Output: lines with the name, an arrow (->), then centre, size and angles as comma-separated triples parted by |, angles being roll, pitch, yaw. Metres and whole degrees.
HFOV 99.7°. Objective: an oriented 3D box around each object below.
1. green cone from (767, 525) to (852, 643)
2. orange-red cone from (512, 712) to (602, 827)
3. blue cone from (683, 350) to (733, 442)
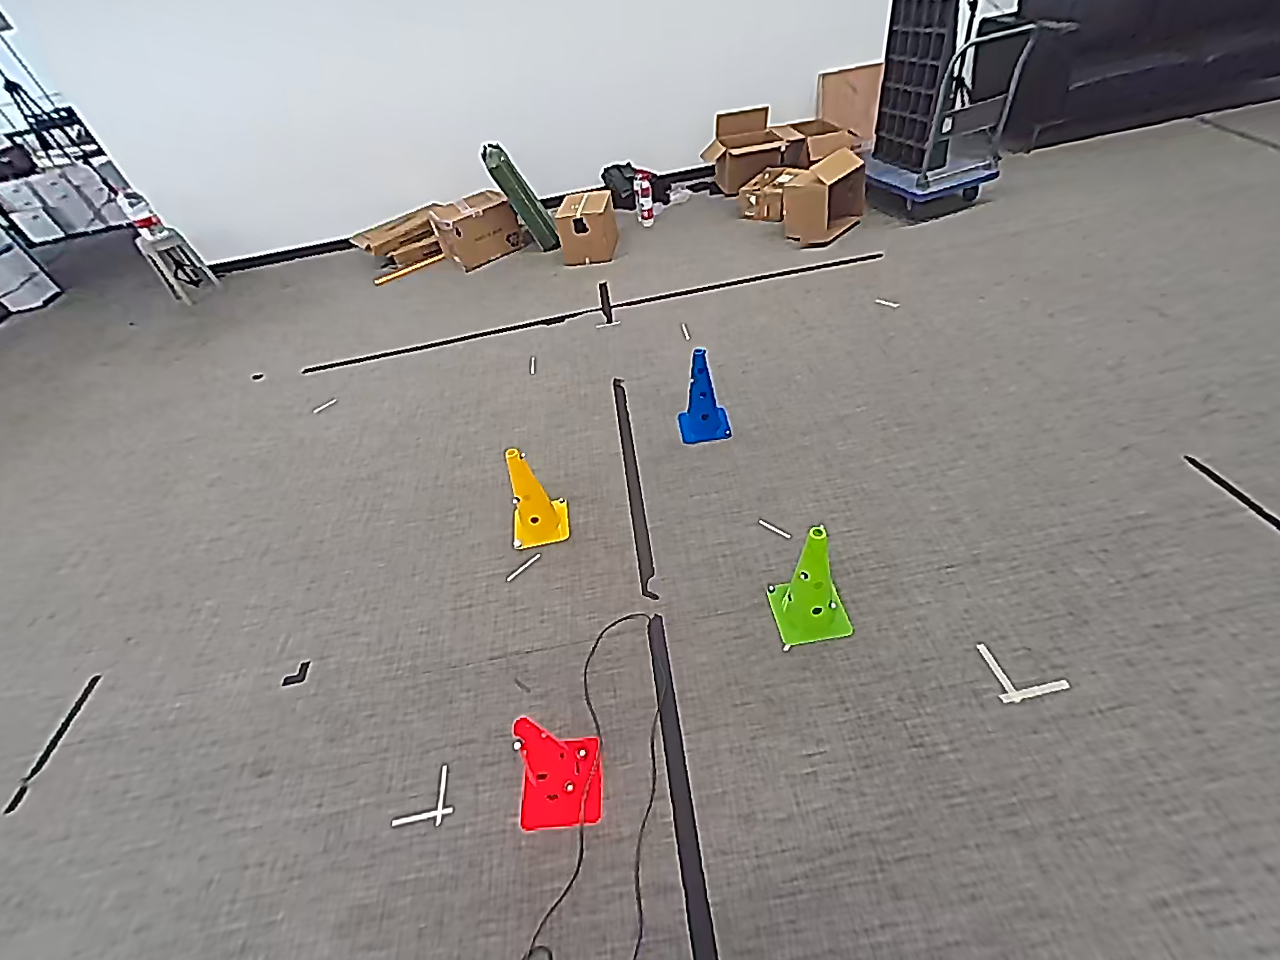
green cone -> 0.468, 0.256, 1.458 | 0.202, 0.368, 0.200 | -9, 44, 0
orange-red cone -> -0.222, 0.623, 1.229 | 0.199, 0.360, 0.198 | -8, 43, 5
blue cone -> 0.257, -0.340, 2.125 | 0.192, 0.380, 0.193 | -7, 44, 3
